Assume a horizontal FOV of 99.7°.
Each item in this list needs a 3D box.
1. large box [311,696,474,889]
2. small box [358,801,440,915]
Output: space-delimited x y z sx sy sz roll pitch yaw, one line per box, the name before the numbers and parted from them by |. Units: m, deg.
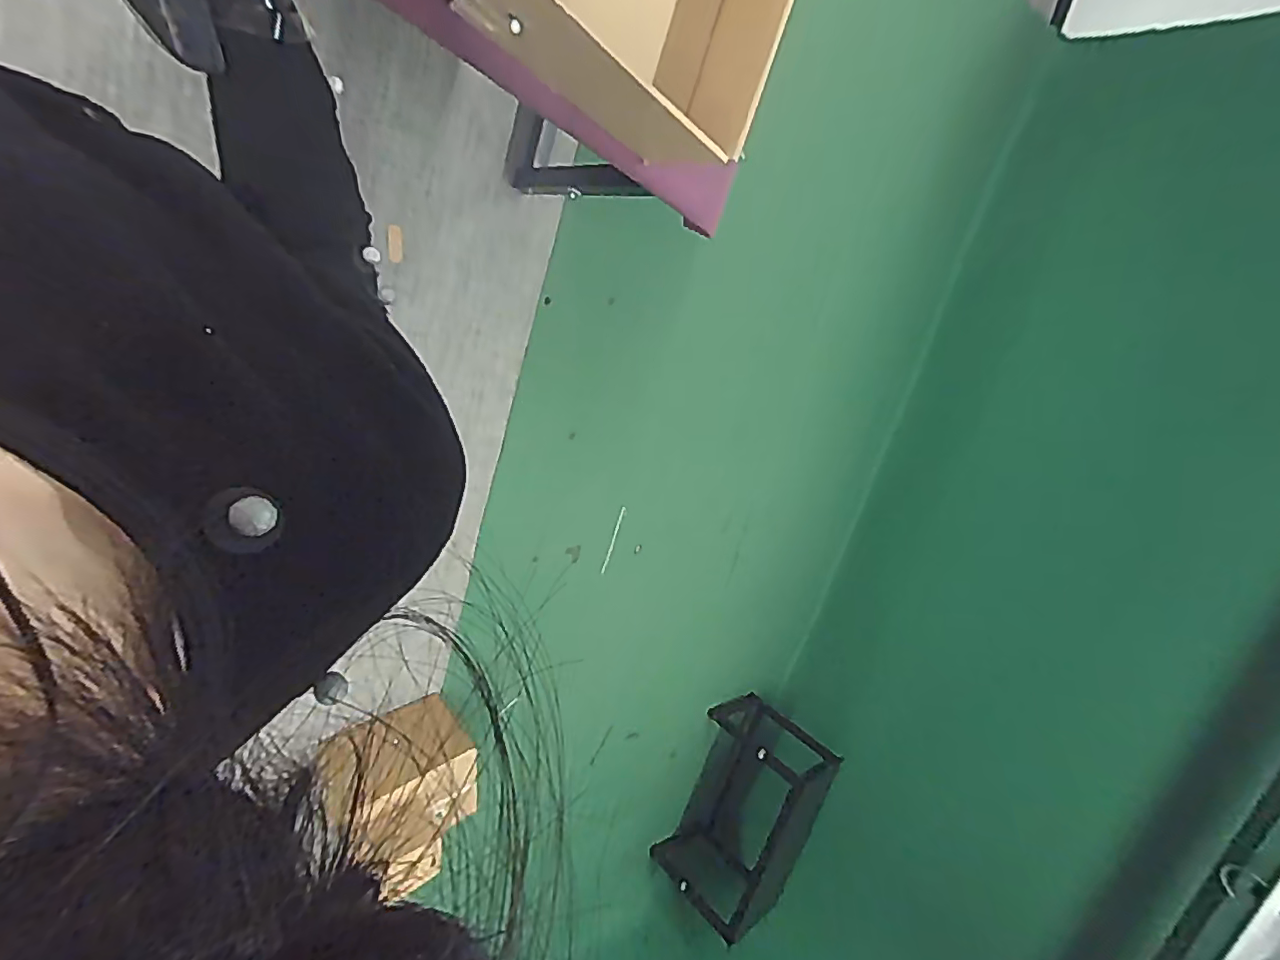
large box | -0.811 1.007 1.796 0.408 0.320 0.320 -14 121 -42
small box | -0.704 1.089 1.572 0.179 0.176 0.168 -8 115 -43
